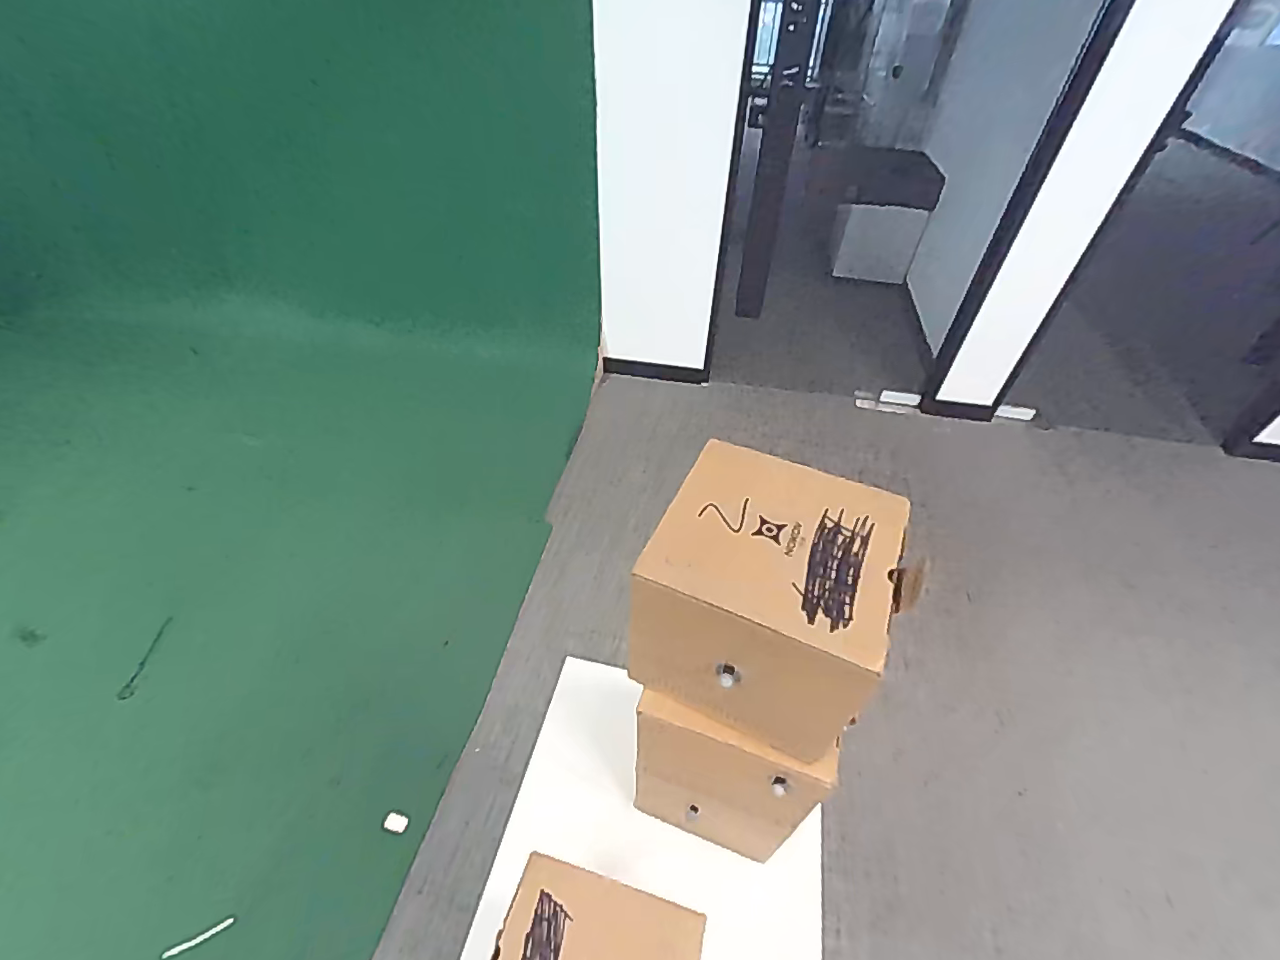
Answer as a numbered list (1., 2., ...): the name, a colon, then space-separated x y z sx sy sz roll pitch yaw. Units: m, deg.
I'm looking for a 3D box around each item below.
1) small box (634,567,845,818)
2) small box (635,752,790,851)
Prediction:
1. small box: 0.100 0.226 0.573 0.179 0.176 0.168 15 46 12
2. small box: 0.100 0.339 0.690 0.179 0.176 0.168 15 47 13
